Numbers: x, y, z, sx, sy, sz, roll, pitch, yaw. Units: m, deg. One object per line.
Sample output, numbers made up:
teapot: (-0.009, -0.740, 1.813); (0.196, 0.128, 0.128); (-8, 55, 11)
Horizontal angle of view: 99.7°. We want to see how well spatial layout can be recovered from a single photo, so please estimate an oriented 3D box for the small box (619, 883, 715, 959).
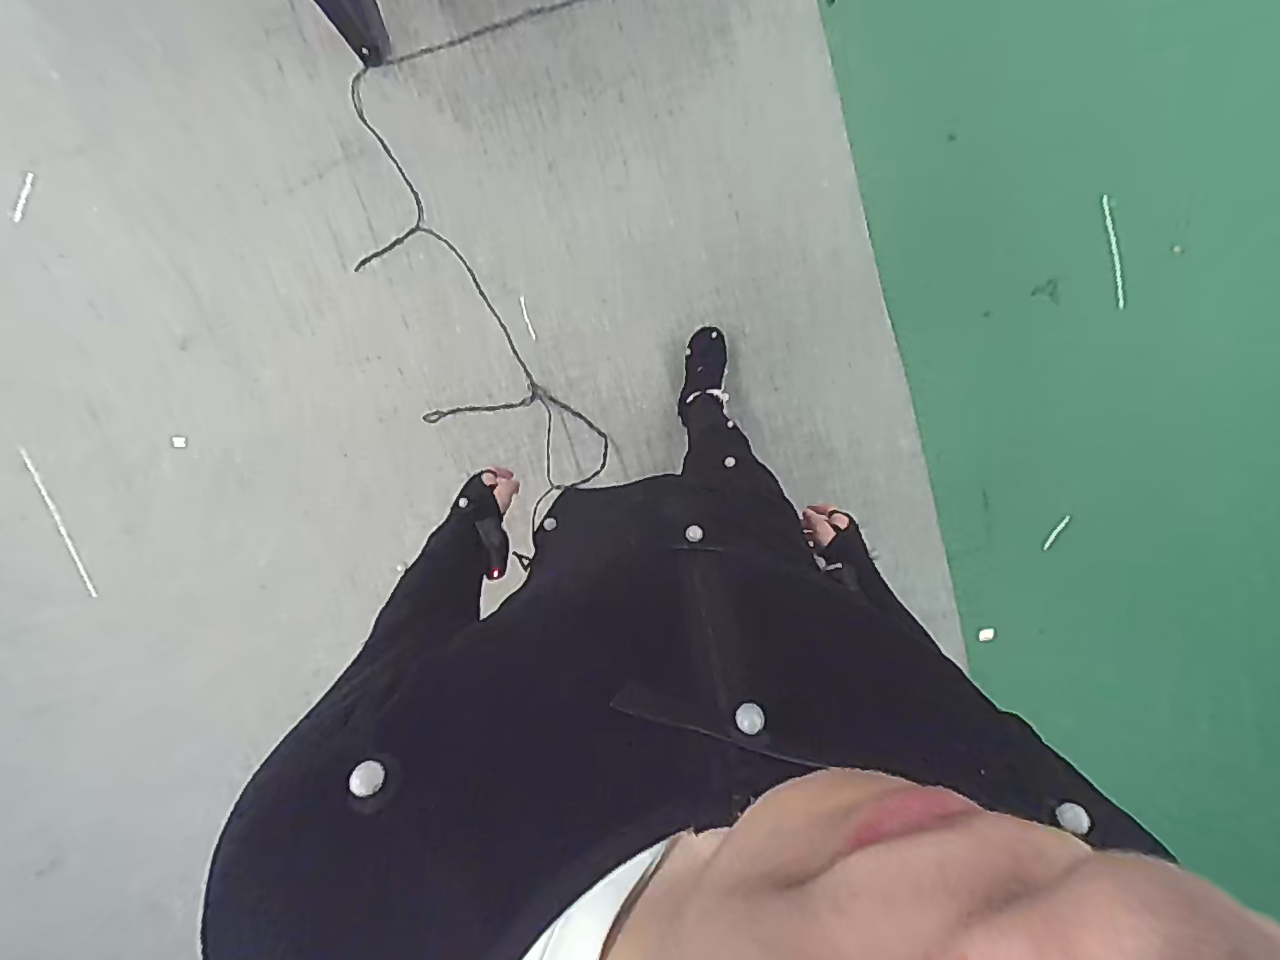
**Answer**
small box: (0.056, 0.932, 1.054); (0.168, 0.176, 0.179); (-15, 97, 2)
